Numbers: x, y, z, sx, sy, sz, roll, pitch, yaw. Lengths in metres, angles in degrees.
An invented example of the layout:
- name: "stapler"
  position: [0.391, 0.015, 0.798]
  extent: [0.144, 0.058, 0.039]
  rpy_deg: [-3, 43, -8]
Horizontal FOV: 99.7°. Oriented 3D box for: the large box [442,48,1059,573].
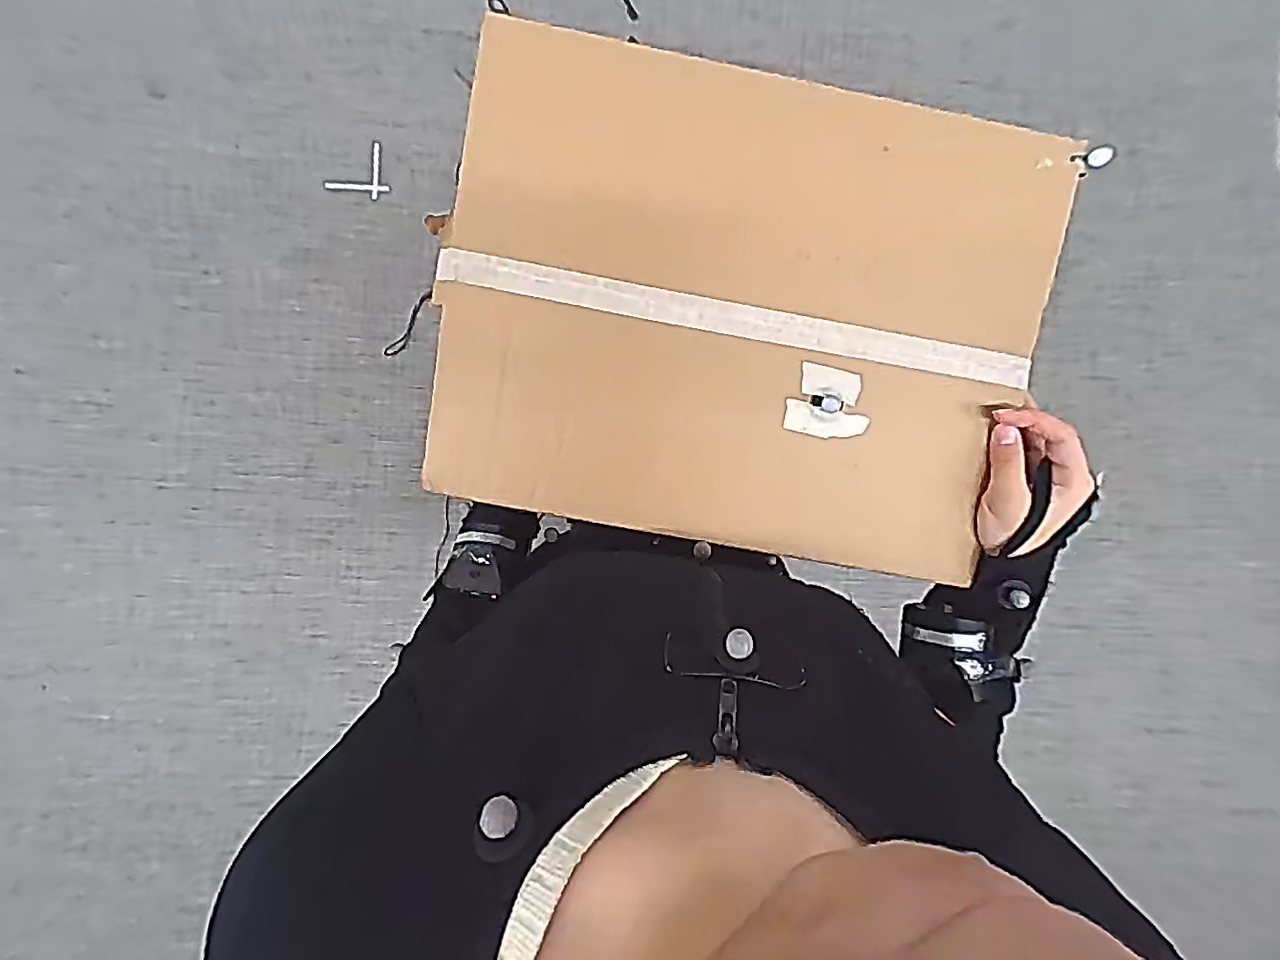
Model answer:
- name: "large box"
  position: [0.068, -0.124, 0.528]
  extent: [0.408, 0.320, 0.320]
  rpy_deg: [10, 97, -3]
